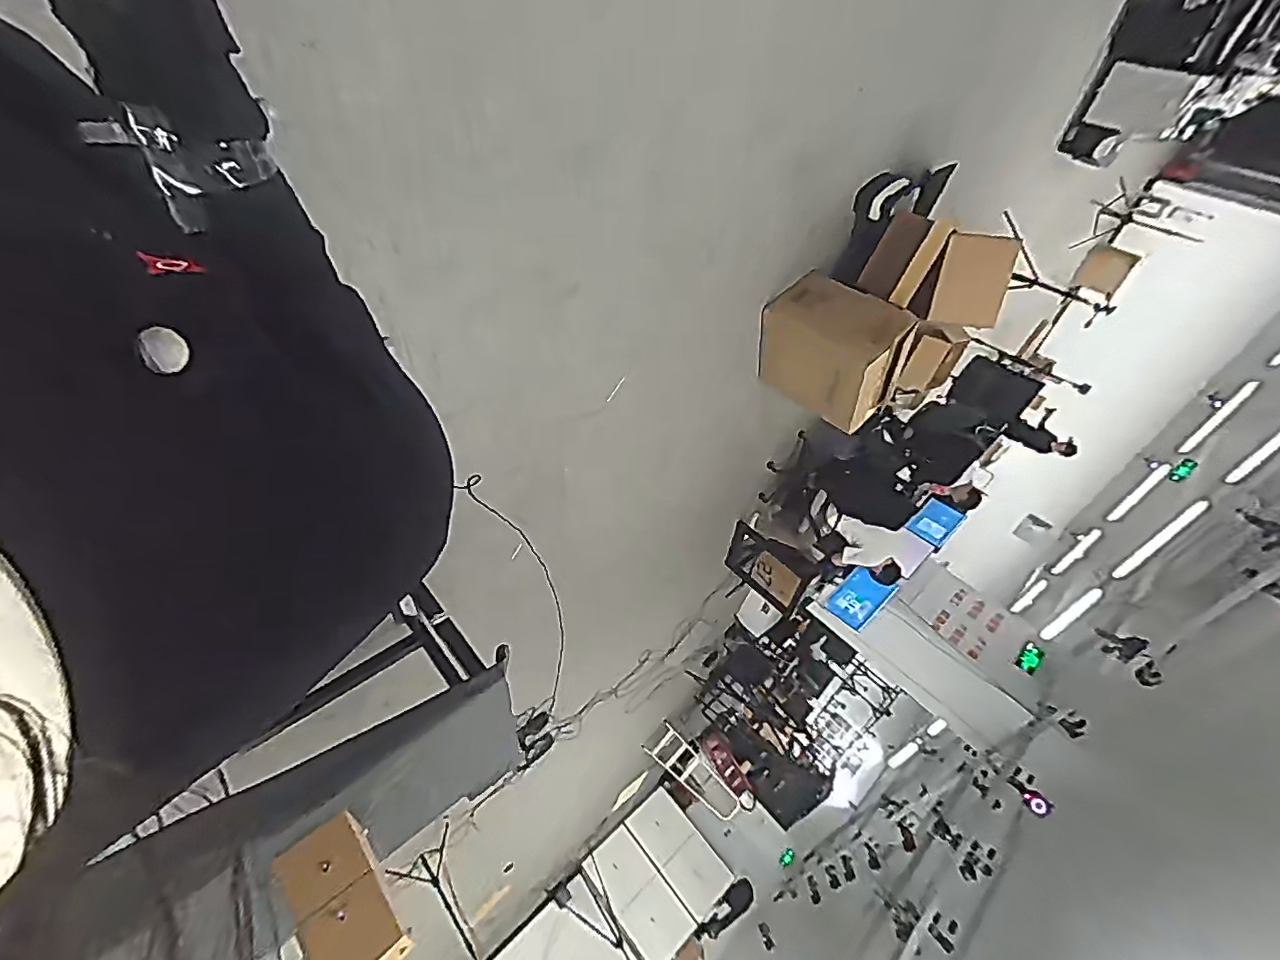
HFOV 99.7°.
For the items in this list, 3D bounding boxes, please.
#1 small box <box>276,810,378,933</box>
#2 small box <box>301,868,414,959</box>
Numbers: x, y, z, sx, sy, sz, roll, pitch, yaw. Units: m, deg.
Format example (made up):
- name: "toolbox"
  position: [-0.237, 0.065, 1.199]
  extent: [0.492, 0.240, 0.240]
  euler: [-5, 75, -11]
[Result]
- name: "small box"
  position: [-0.758, 0.959, 1.320]
  extent: [0.179, 0.176, 0.168]
  euler: [-27, 146, -35]
- name: "small box"
  position: [-0.649, 1.048, 1.240]
  extent: [0.179, 0.176, 0.168]
  euler: [-28, 145, -33]
